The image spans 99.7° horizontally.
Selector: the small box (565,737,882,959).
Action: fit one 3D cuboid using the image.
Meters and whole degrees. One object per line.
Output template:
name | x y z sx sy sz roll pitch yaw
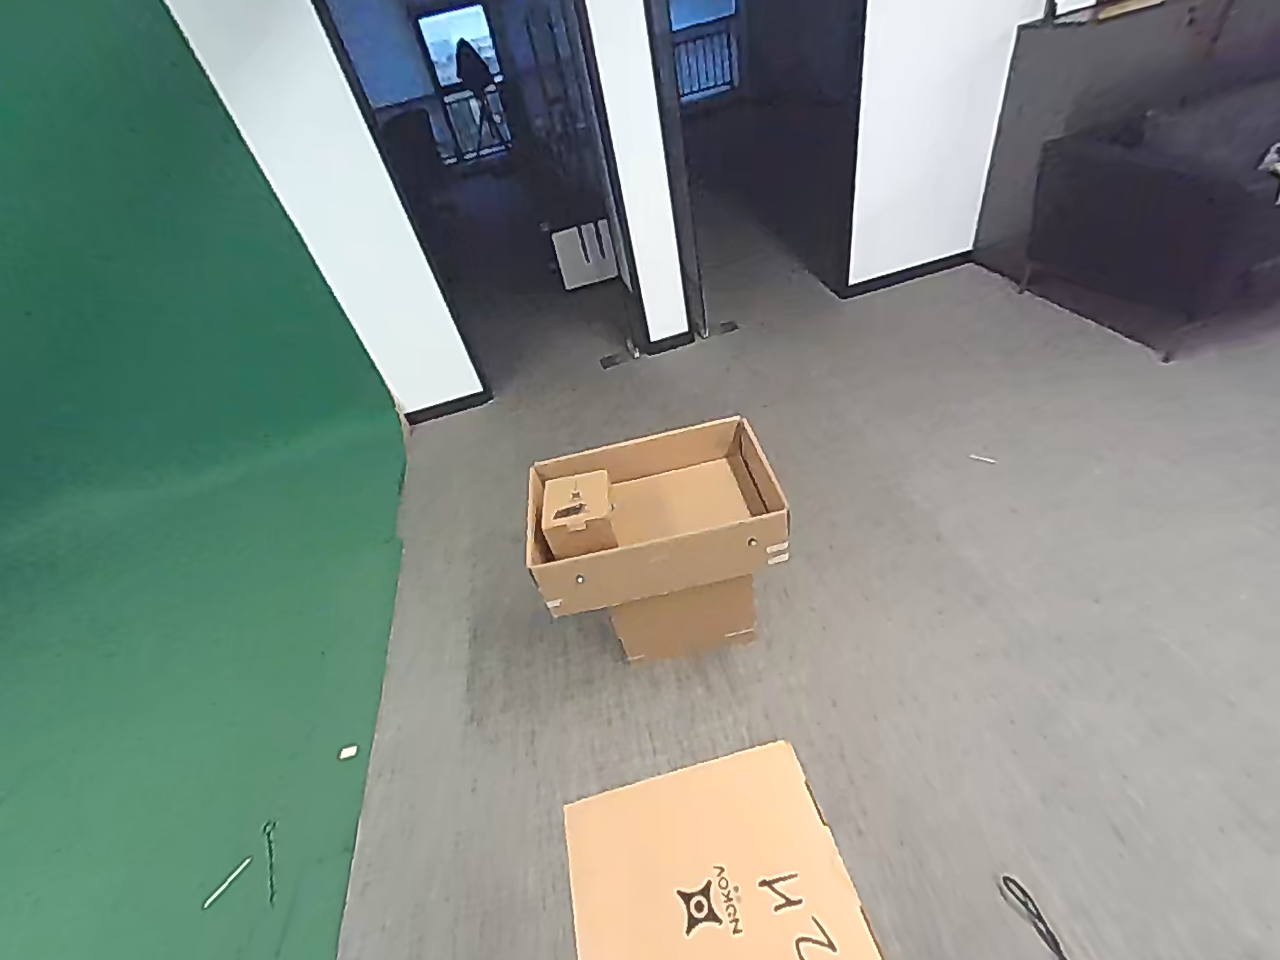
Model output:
small box | 0.056 0.323 0.391 0.179 0.176 0.168 -14 40 -4
